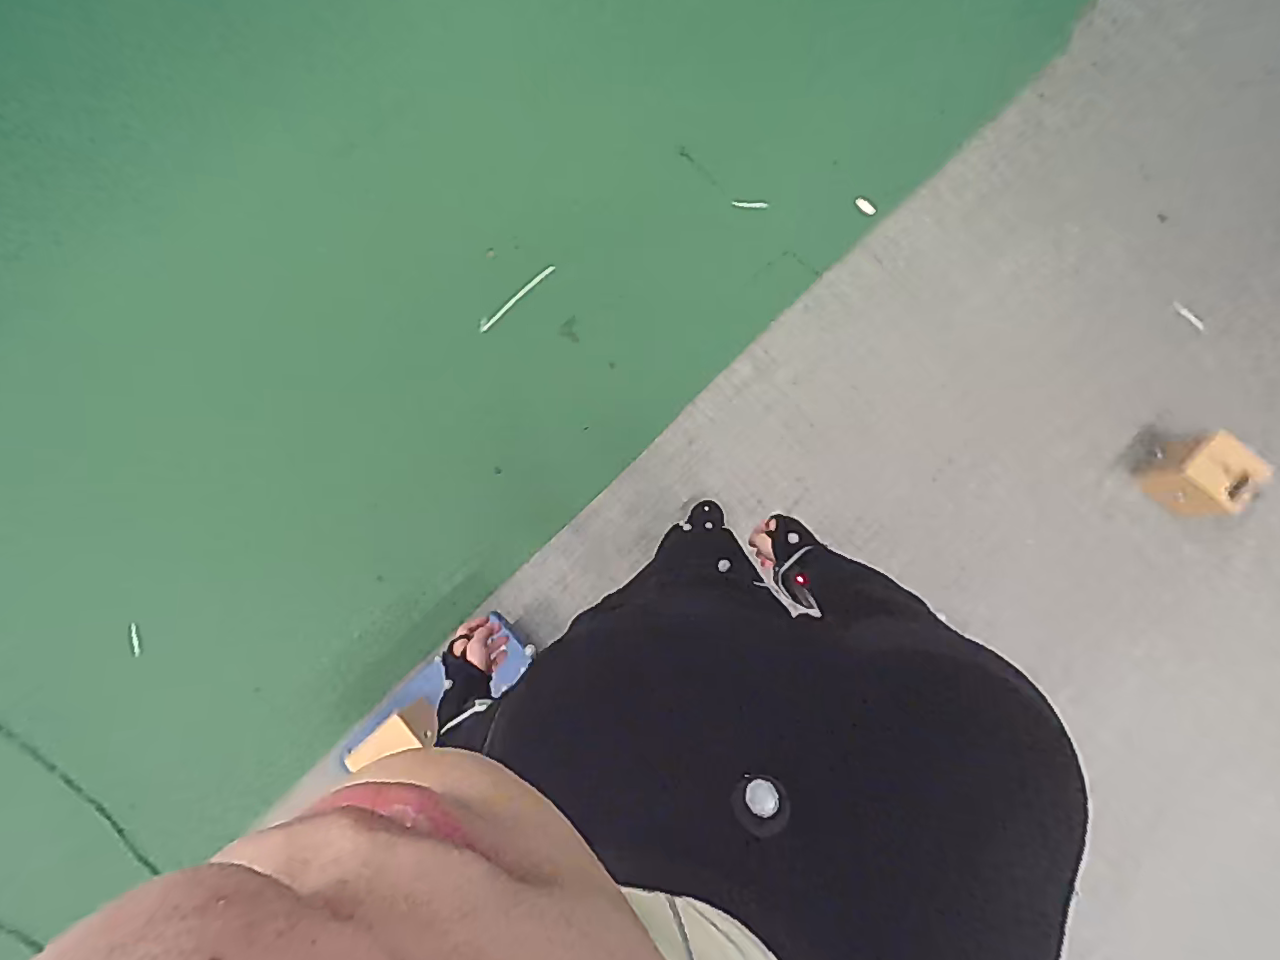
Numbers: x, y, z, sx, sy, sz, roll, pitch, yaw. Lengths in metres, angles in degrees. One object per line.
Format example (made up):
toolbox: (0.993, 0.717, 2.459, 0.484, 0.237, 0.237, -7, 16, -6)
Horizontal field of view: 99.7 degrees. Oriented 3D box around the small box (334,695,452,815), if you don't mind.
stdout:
small box: (-0.605, 0.673, 1.348, 0.168, 0.176, 0.179, -42, 85, -4)
